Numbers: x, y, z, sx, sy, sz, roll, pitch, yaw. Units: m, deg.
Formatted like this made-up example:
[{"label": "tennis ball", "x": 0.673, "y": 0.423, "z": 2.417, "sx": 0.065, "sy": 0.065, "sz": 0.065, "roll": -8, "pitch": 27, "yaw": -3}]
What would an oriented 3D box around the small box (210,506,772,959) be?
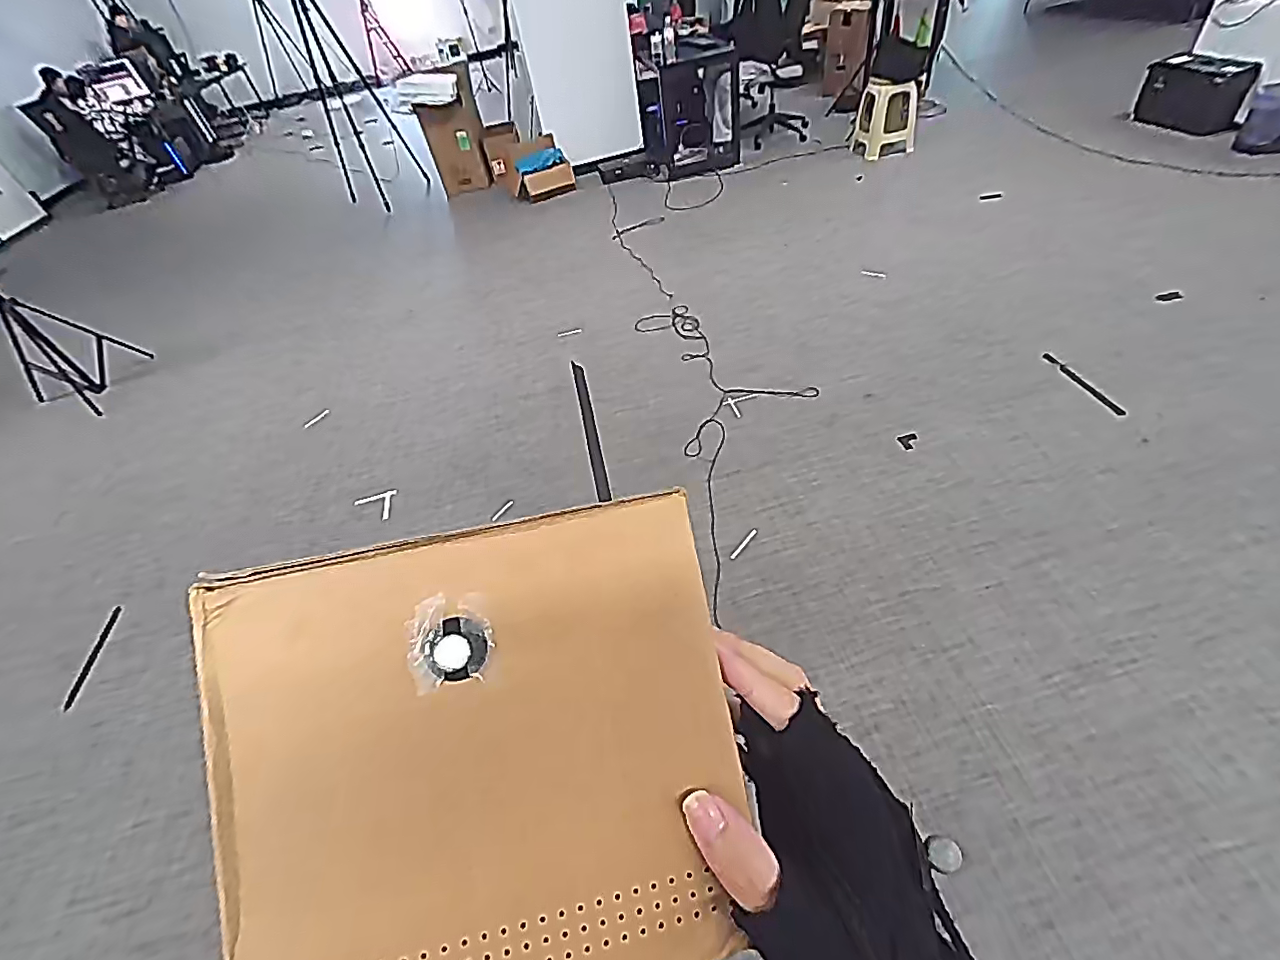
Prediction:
[{"label": "small box", "x": -0.058, "y": 0.117, "z": 0.264, "sx": 0.179, "sy": 0.168, "sz": 0.176, "roll": -10, "pitch": 84, "yaw": -8}]
